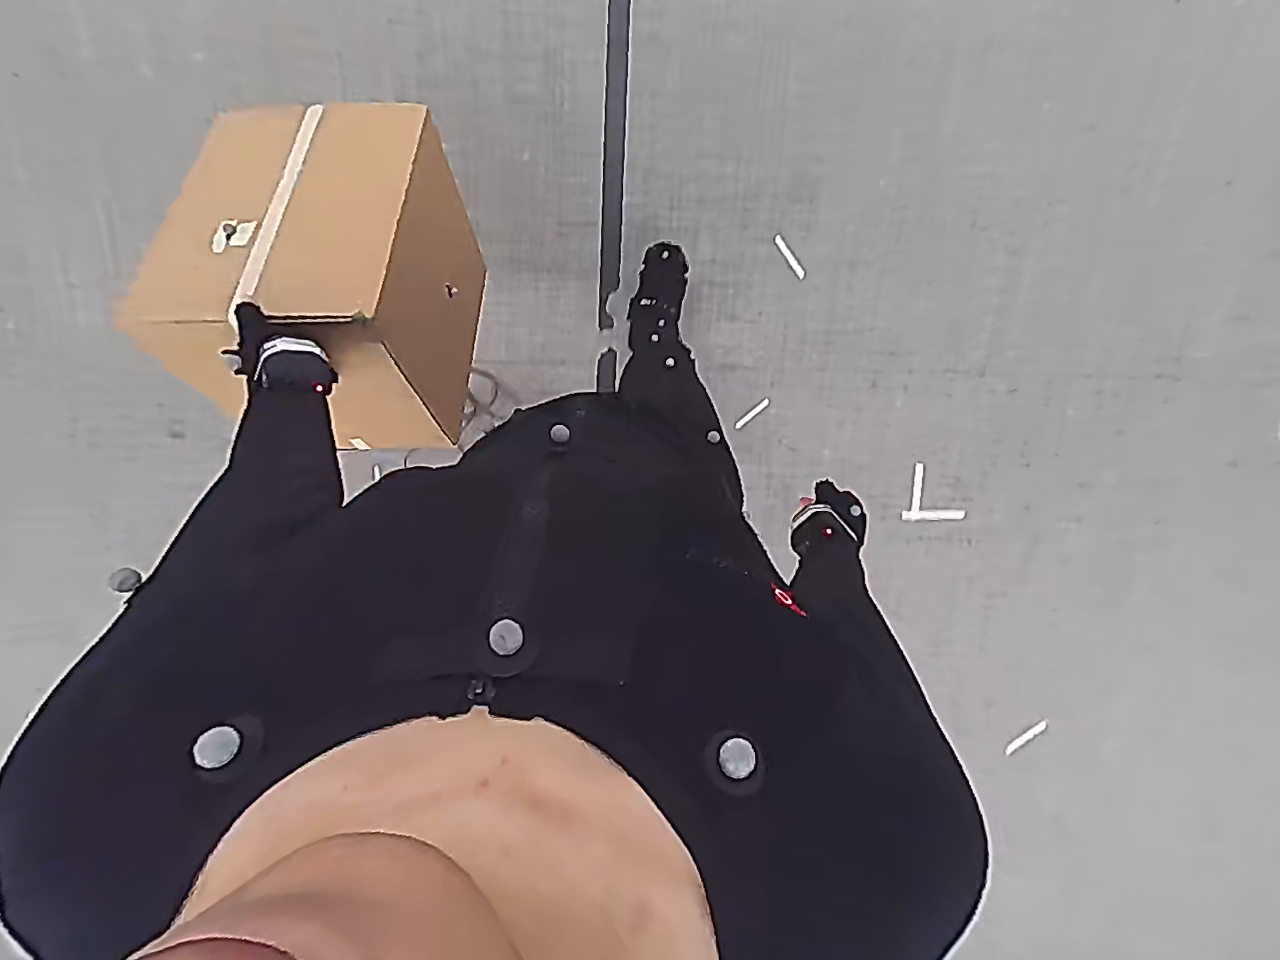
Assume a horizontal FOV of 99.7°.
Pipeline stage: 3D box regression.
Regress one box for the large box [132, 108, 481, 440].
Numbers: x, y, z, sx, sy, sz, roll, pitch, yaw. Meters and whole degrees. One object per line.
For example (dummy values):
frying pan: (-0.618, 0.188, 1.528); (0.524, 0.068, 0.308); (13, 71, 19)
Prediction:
large box: (-0.464, -0.311, 0.865); (0.320, 0.320, 0.408); (-1, 66, 2)
